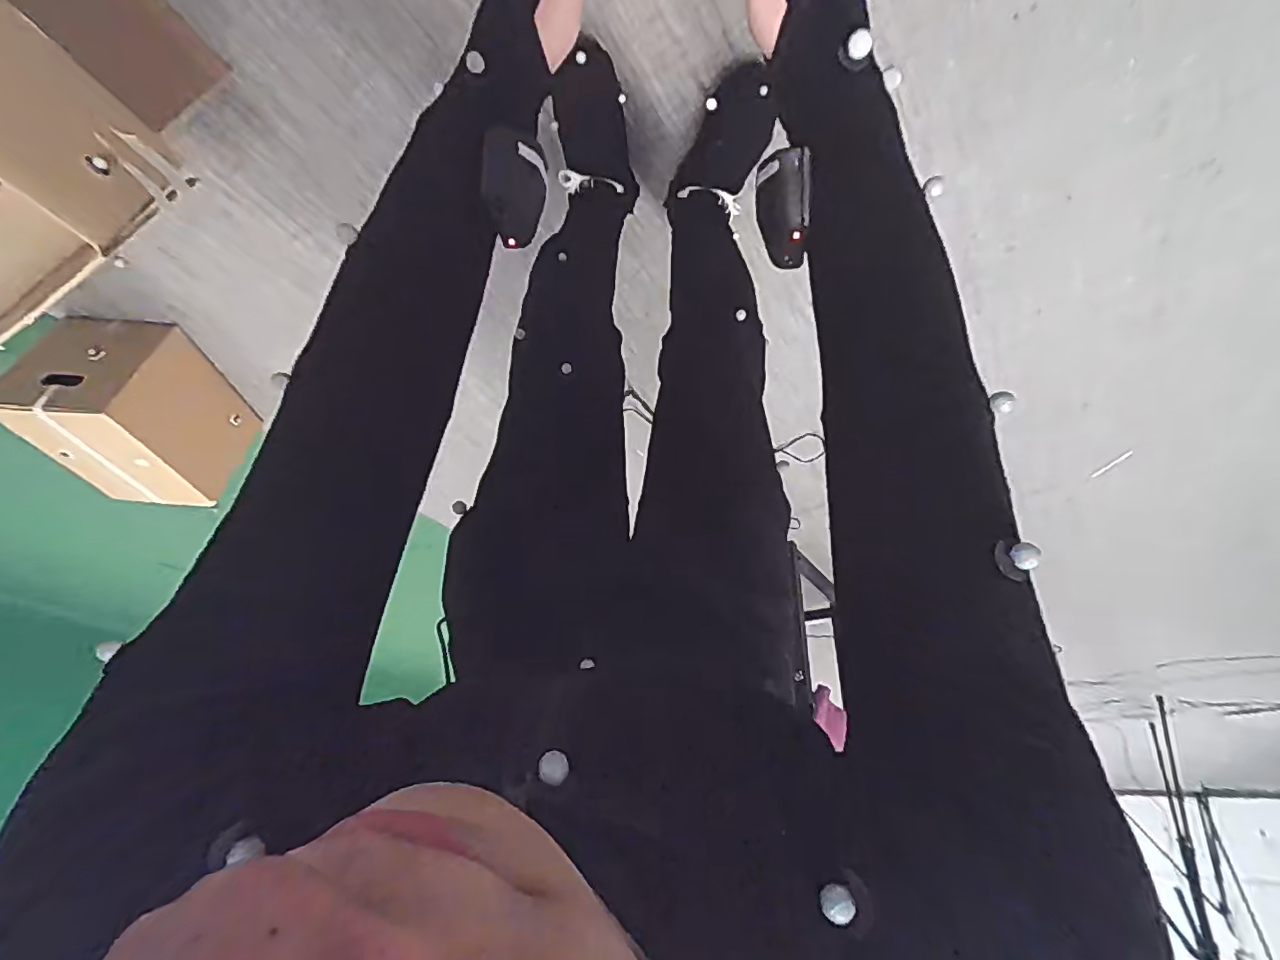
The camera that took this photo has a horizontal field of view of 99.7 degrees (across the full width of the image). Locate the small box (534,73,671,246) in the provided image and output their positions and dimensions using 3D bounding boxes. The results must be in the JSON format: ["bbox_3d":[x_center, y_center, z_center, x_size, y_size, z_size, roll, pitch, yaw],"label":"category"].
[{"bbox_3d":[-0.067,-0.548,0.935,0.179,0.176,0.168,30,136,-19],"label":"small box"}]
